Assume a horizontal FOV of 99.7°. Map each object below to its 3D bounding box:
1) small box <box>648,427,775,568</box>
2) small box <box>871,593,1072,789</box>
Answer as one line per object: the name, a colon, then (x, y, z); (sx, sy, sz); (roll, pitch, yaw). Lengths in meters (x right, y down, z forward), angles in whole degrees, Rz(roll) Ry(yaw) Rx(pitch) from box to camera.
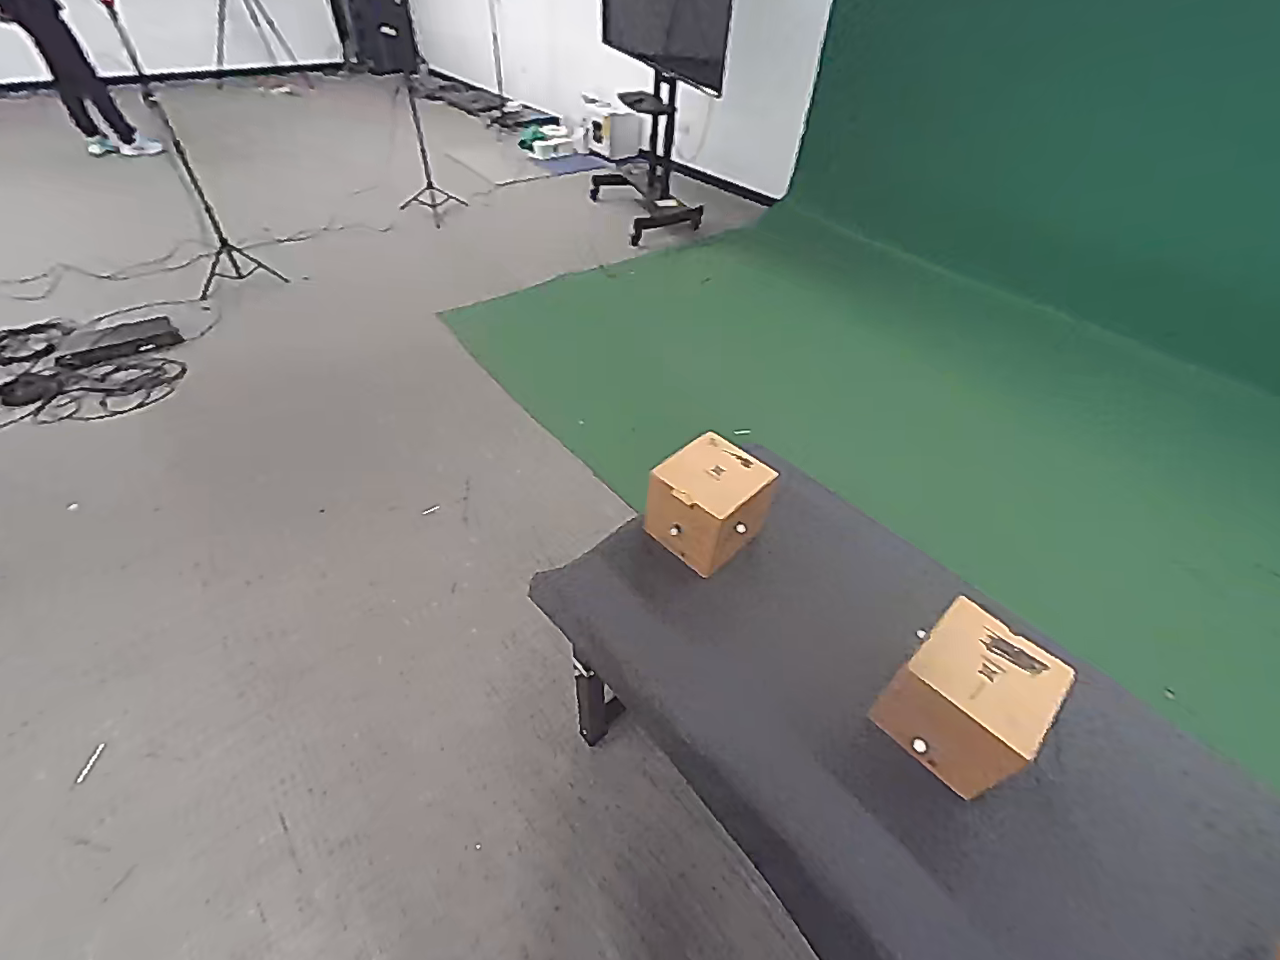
small box: (0.130, 0.036, 1.037); (0.179, 0.176, 0.168); (-35, 57, -31)
small box: (0.470, 0.307, 0.791); (0.179, 0.176, 0.168); (-33, 55, -29)
